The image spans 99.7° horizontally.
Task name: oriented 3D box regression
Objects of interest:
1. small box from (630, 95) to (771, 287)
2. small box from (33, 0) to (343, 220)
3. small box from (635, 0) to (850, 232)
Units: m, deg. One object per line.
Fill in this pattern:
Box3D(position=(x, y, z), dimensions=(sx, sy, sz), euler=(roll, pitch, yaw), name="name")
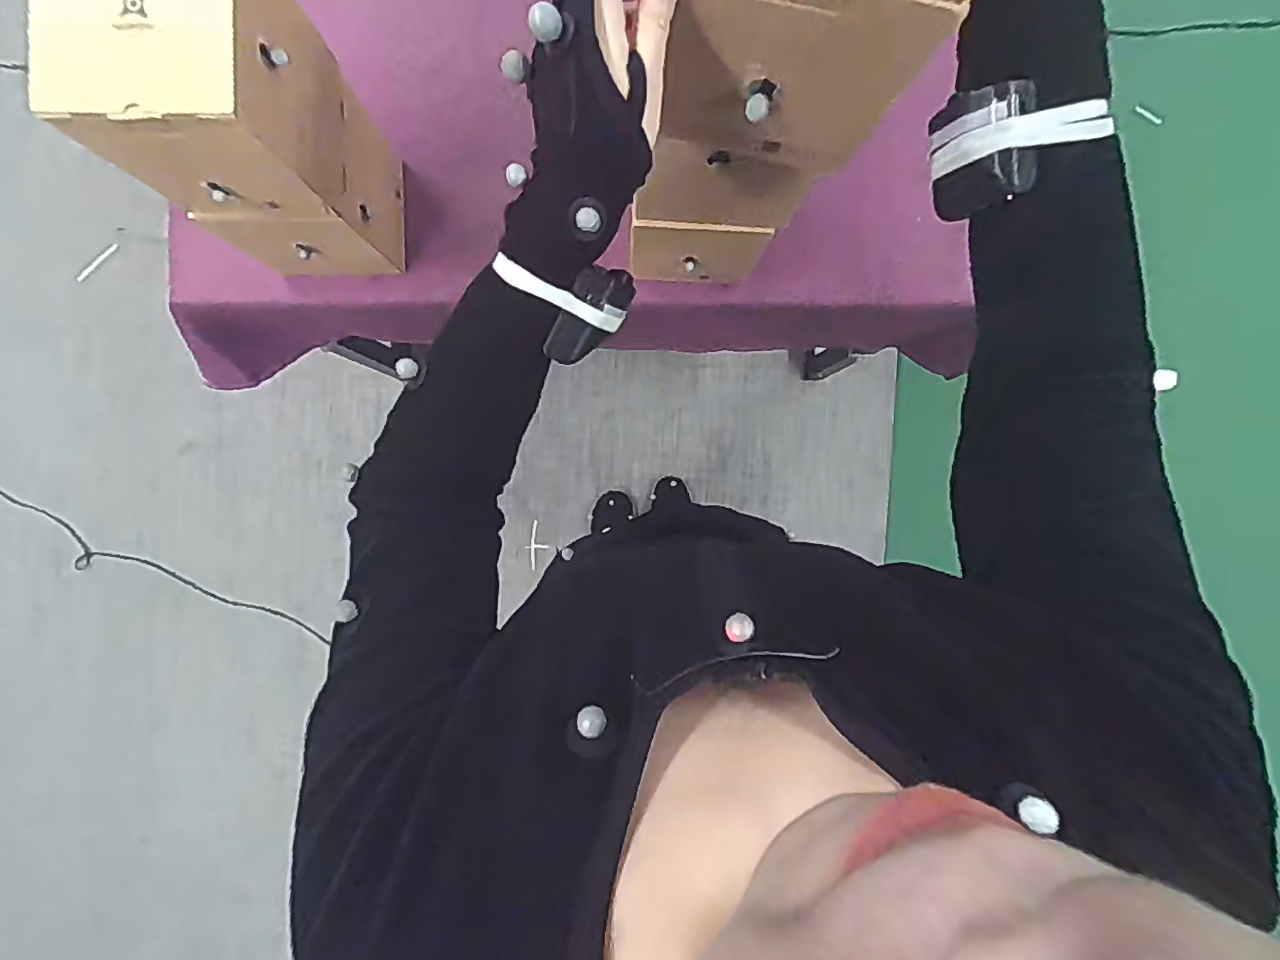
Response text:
Box3D(position=(0.073, -0.365, 0.702), dimensions=(0.168, 0.176, 0.179), euler=(3, 90, -2), name="small box")
Box3D(position=(-0.410, -0.380, 0.521), dimensions=(0.168, 0.176, 0.179), euler=(0, 91, -2), name="small box")
Box3D(position=(0.087, -0.368, 0.538), dimensions=(0.179, 0.176, 0.168), euler=(4, 90, -3), name="small box")
